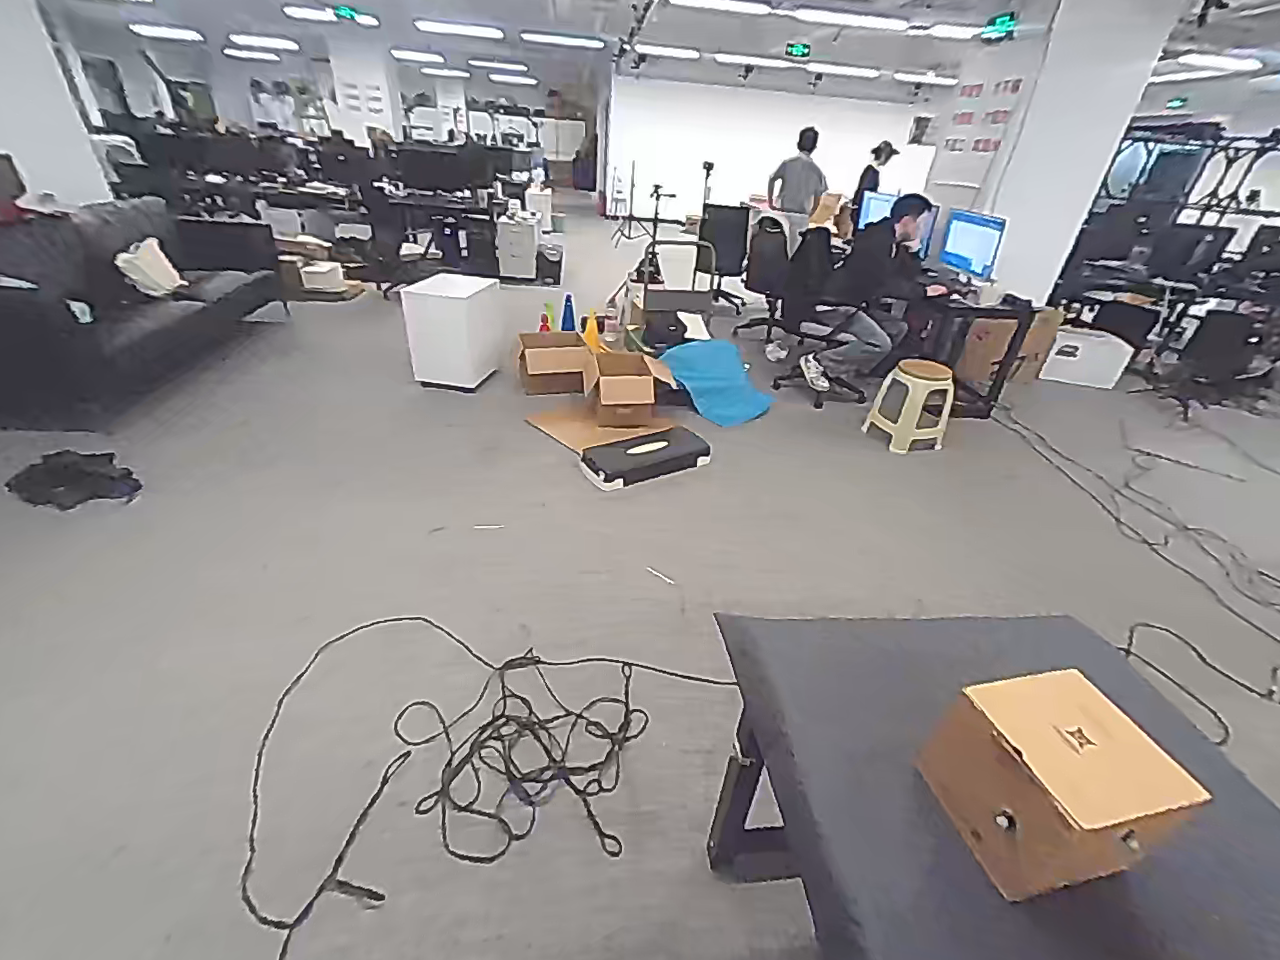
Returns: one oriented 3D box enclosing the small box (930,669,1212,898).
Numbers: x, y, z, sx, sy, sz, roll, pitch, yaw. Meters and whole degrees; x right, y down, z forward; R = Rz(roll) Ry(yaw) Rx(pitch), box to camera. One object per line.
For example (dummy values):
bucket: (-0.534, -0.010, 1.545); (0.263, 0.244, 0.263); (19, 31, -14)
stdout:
small box: (0.477, 0.352, 0.637); (0.179, 0.176, 0.168); (-2, 33, -14)
